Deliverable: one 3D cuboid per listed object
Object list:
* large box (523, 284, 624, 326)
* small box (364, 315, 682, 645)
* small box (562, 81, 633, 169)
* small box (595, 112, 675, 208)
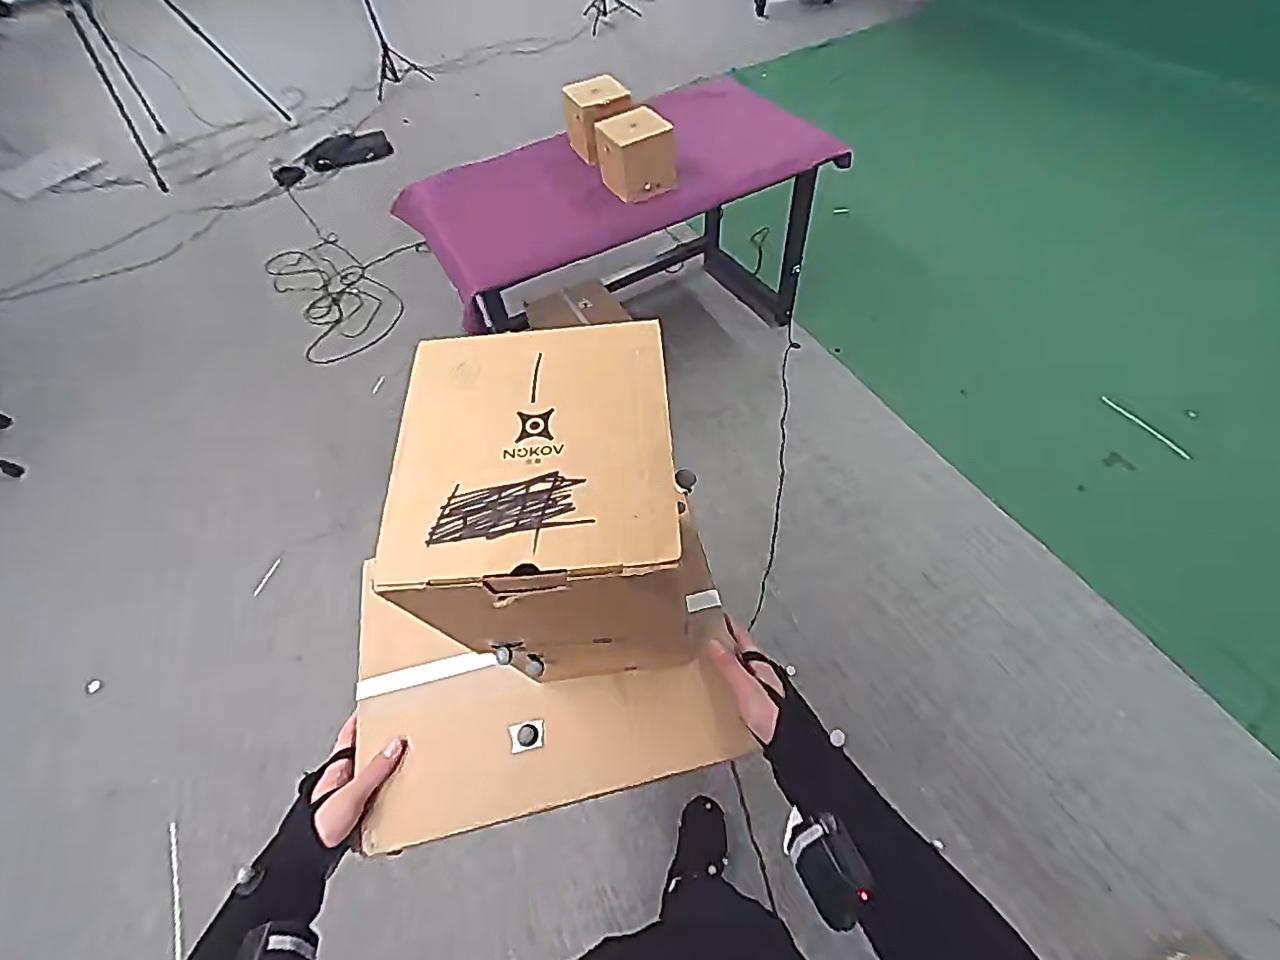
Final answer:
[{"bbox_3d":[-0.197,-0.470,2.074,0.320,0.320,0.408,-26,56,-12],"label":"large box"},{"bbox_3d":[-0.058,0.013,0.383,0.168,0.176,0.179,-4,59,3],"label":"small box"},{"bbox_3d":[-0.129,-1.115,1.703,0.168,0.176,0.179,-25,58,-11],"label":"small box"},{"bbox_3d":[-0.012,-0.916,1.553,0.168,0.176,0.179,-26,56,-10],"label":"small box"}]
